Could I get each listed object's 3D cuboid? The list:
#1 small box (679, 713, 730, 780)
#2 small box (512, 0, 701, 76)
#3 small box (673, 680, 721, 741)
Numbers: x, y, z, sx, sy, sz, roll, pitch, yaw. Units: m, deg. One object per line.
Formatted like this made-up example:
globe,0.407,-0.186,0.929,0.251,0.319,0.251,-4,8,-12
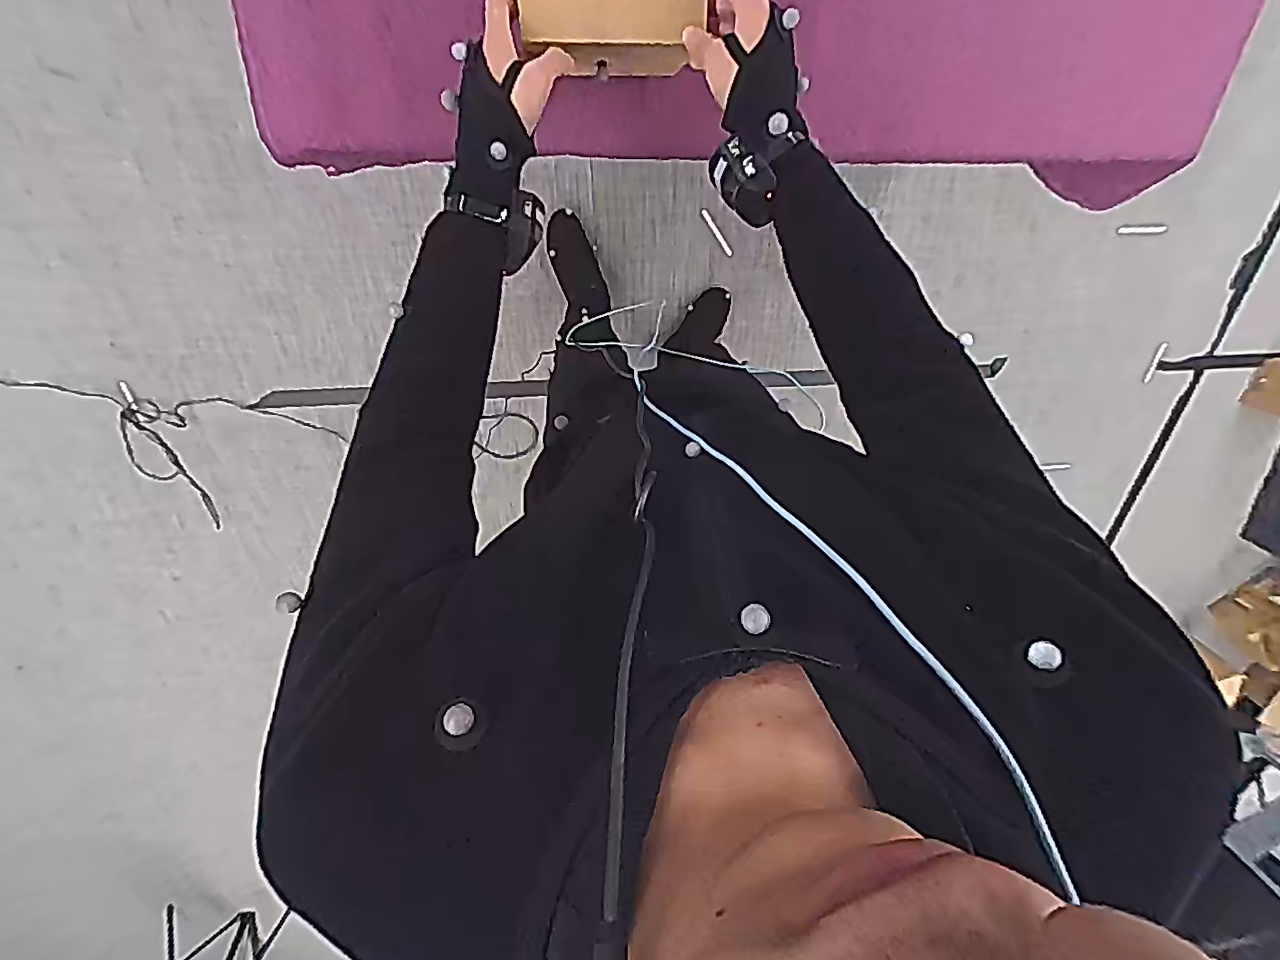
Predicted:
small box,0.256,1.072,2.180,0.168,0.176,0.179,-6,120,-7
small box,-0.036,-0.498,0.507,0.168,0.176,0.179,-4,119,-7
small box,0.238,0.986,2.319,0.179,0.176,0.168,-6,121,-7
